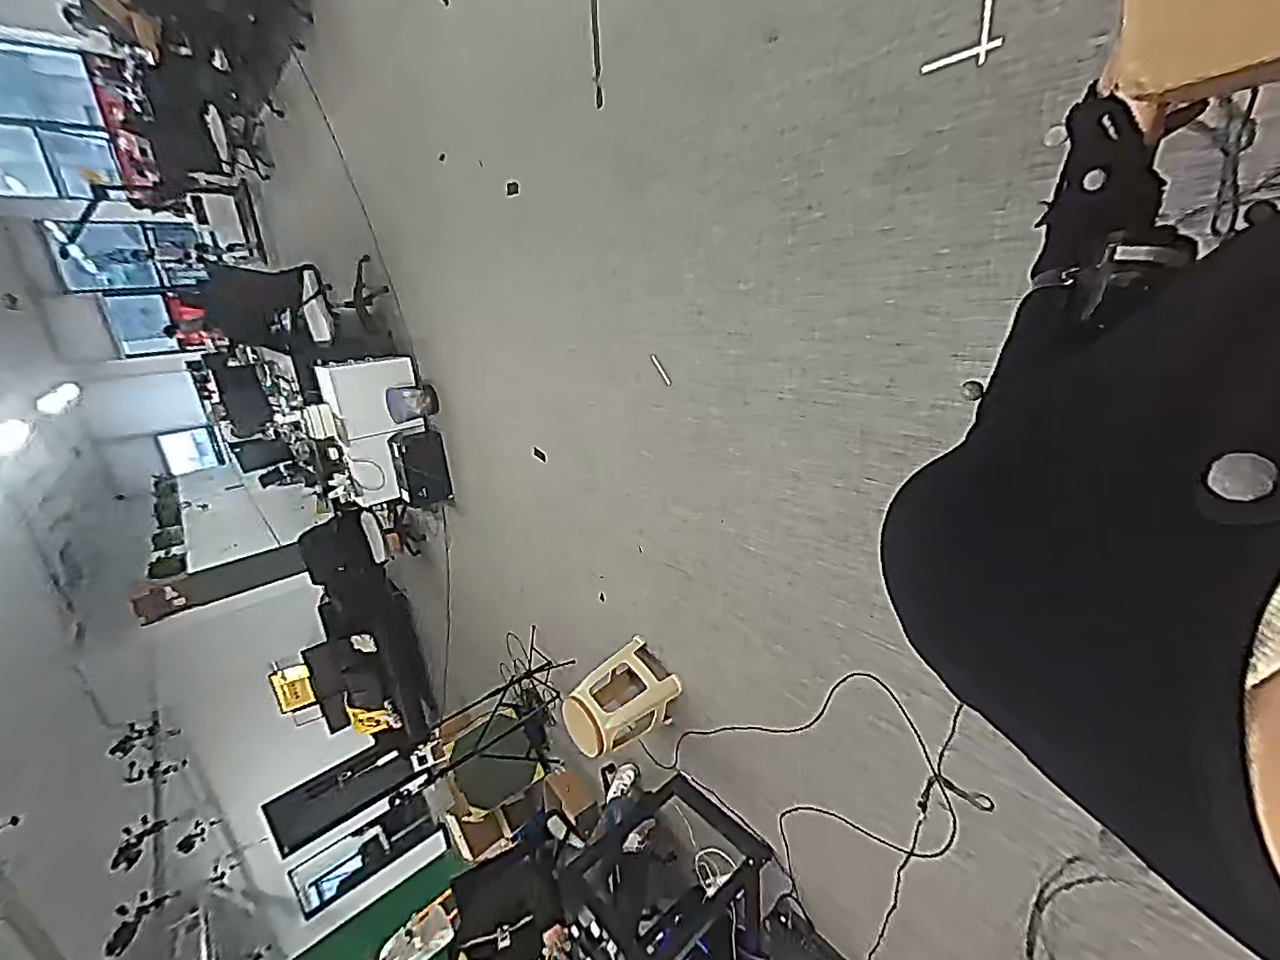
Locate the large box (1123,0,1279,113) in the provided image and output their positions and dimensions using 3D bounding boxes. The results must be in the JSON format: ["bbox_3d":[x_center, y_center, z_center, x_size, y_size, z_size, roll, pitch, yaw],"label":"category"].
[{"bbox_3d":[0.412,-0.341,0.135,0.408,0.320,0.320,9,121,45],"label":"large box"}]
